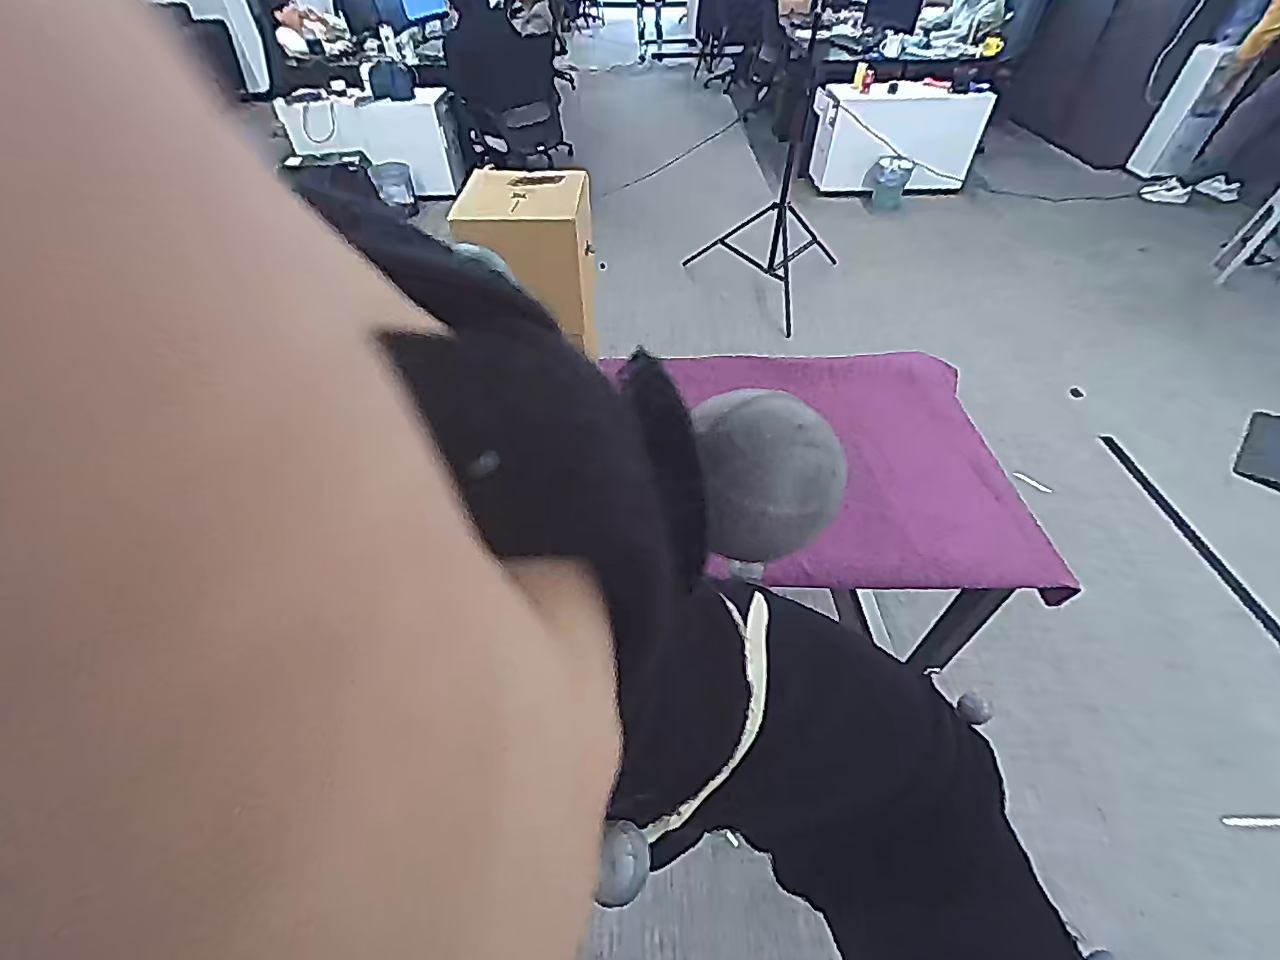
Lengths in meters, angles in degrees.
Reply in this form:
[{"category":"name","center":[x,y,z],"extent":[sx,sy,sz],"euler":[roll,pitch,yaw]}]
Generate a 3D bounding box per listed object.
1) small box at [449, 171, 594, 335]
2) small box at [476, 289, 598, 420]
[{"category":"small box","center":[-0.159,-0.332,0.792],"extent":[0.168,0.176,0.179],"euler":[0,47,1]},{"category":"small box","center":[-0.162,-0.221,0.914],"extent":[0.168,0.176,0.179],"euler":[-1,46,1]}]
